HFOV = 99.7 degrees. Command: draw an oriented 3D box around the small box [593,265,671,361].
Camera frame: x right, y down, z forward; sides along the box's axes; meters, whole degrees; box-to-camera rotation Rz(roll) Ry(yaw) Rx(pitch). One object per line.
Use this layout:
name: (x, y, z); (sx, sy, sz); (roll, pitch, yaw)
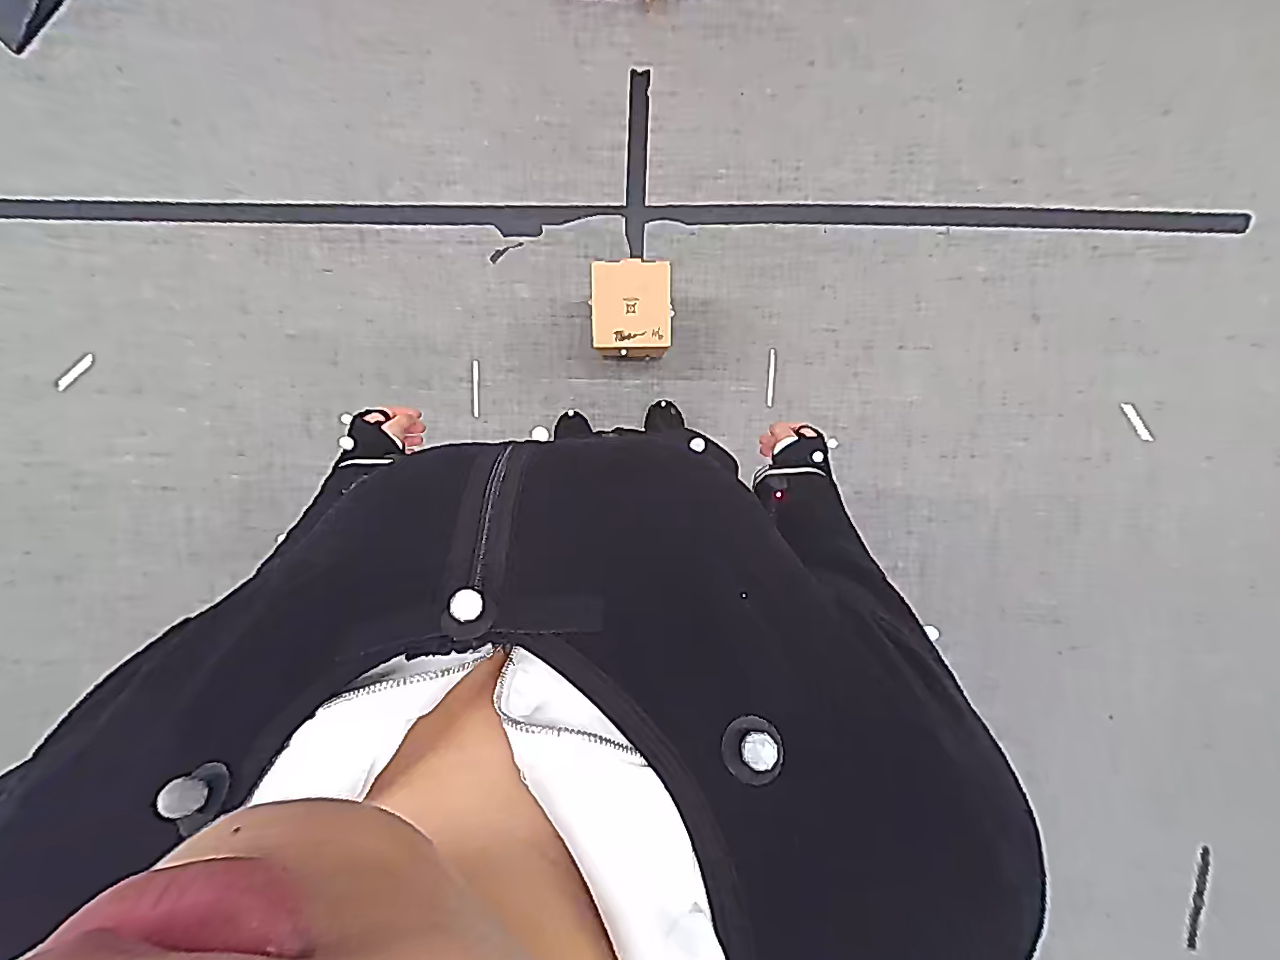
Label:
small box: (-0.018, -0.365, 1.205); (0.168, 0.176, 0.179); (-1, 96, 0)
